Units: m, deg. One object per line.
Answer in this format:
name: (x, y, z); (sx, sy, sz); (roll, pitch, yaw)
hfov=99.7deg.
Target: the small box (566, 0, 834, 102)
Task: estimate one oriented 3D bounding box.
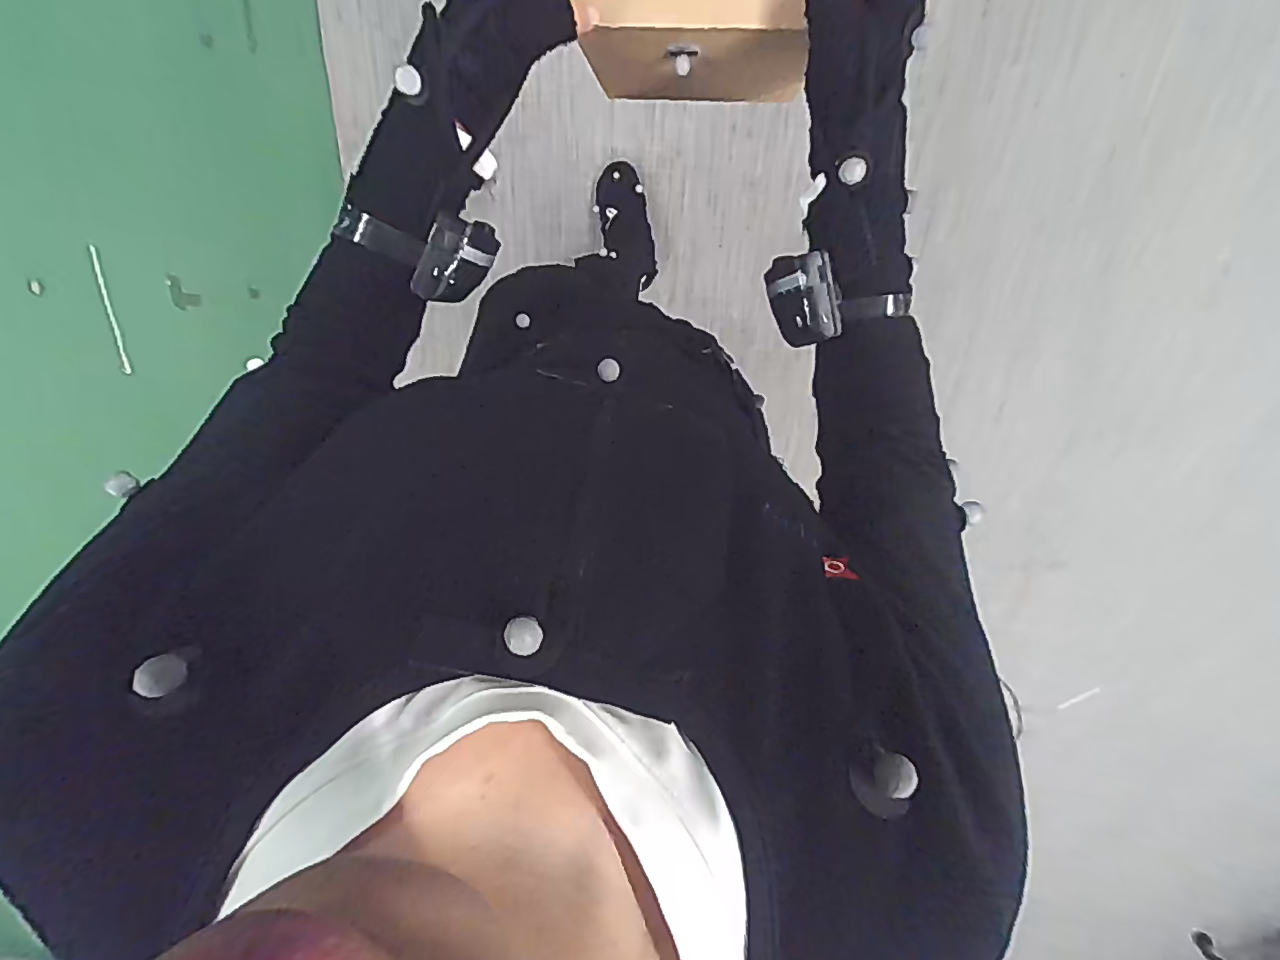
small box: (0.049, -0.400, 0.401); (0.179, 0.176, 0.168); (4, 112, 4)
